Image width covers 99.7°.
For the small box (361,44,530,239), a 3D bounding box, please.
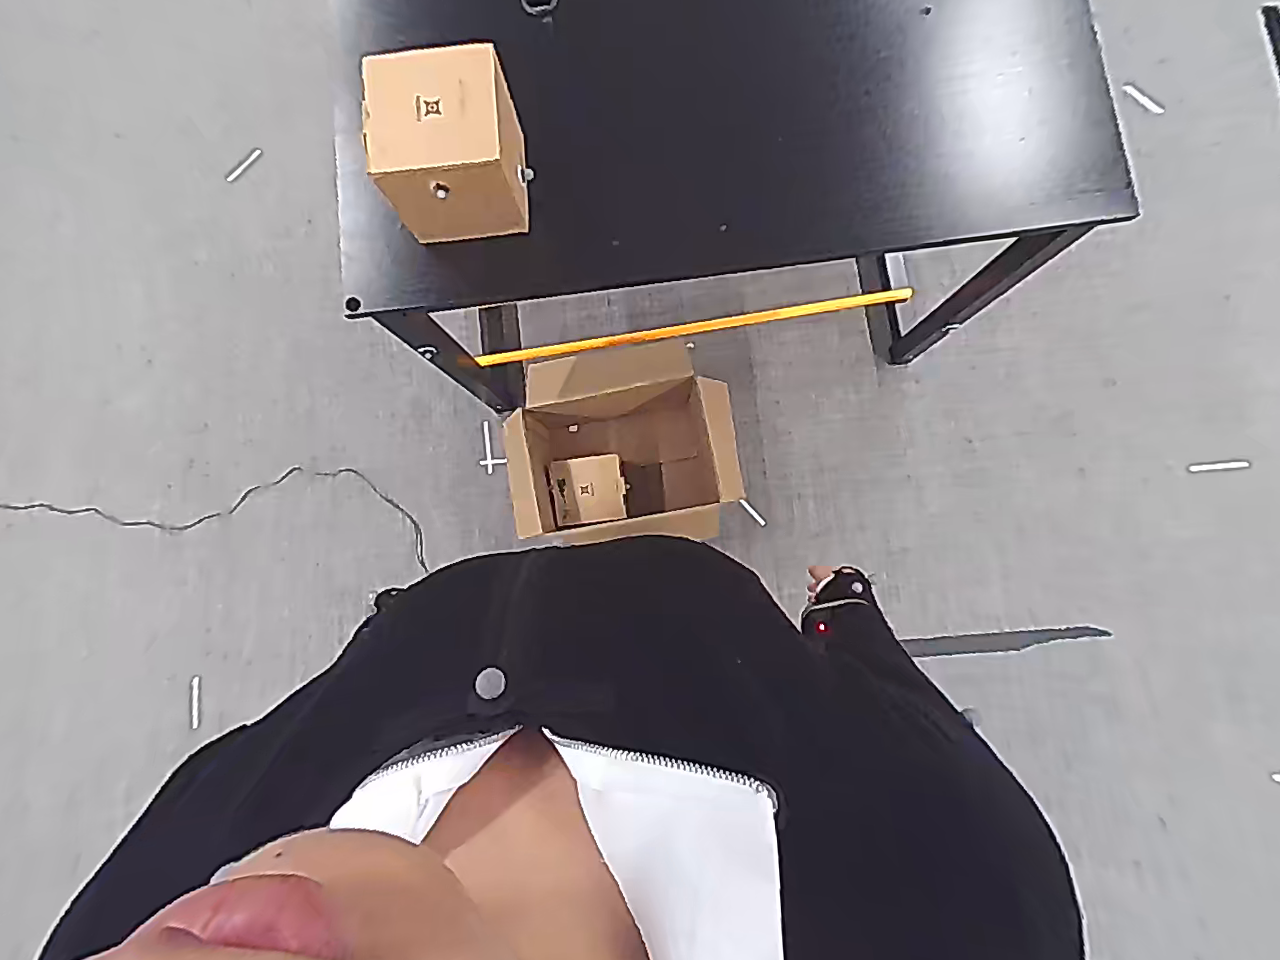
[{"bbox_3d":[-0.264,-0.463,0.765,0.179,0.176,0.168,-6,84,0],"label":"small box"}]
